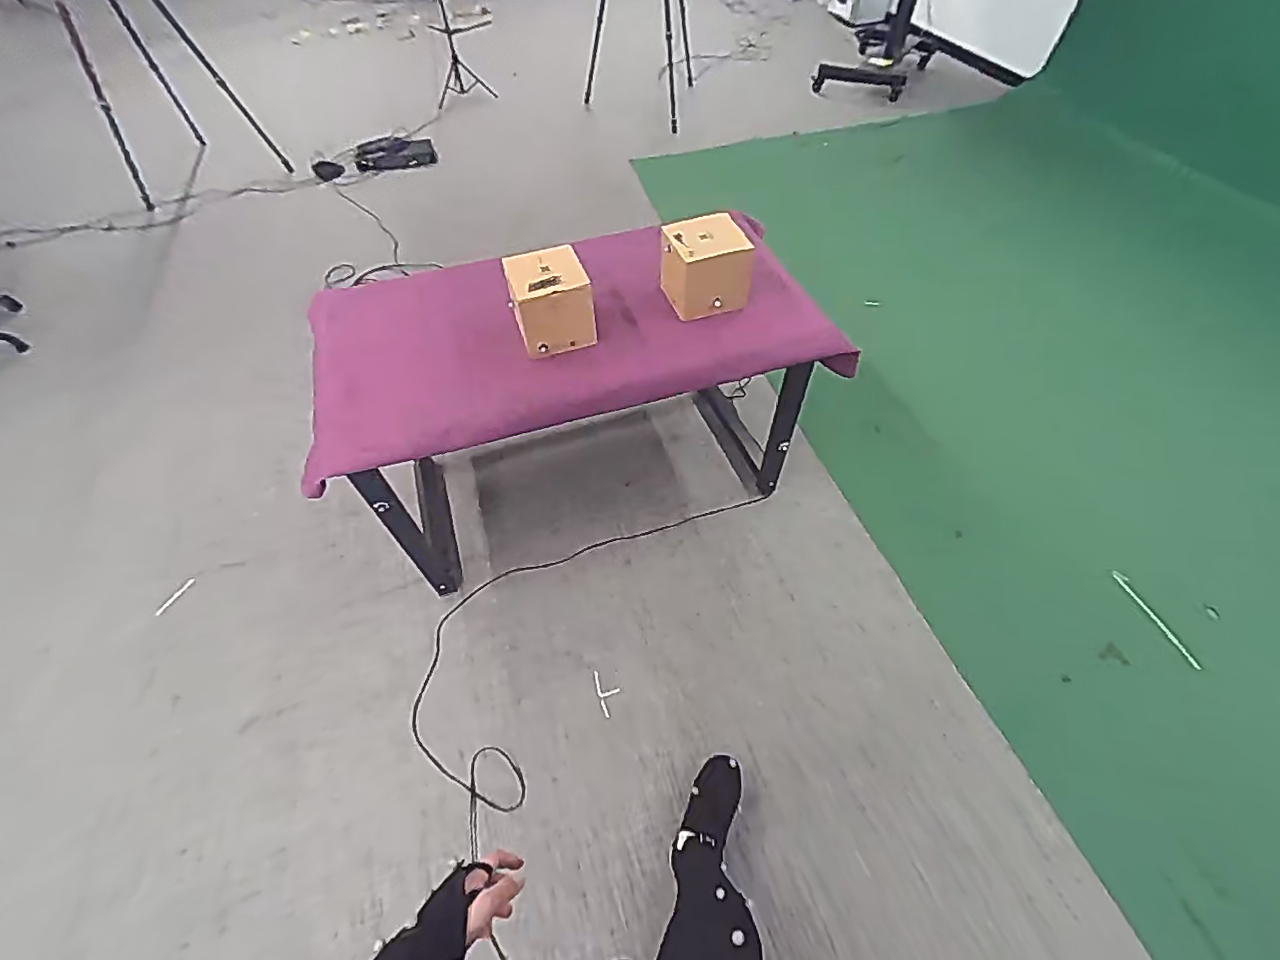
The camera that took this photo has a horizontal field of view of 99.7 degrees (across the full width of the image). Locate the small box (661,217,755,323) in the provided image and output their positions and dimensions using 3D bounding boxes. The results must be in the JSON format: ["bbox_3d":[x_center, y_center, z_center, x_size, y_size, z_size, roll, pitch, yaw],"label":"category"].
[{"bbox_3d":[0.160,-0.518,1.339,0.179,0.176,0.168,-15,55,-10],"label":"small box"}]

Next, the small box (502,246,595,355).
[{"bbox_3d":[-0.210,-0.413,1.267,0.168,0.176,0.179,-16,55,-11],"label":"small box"}]
